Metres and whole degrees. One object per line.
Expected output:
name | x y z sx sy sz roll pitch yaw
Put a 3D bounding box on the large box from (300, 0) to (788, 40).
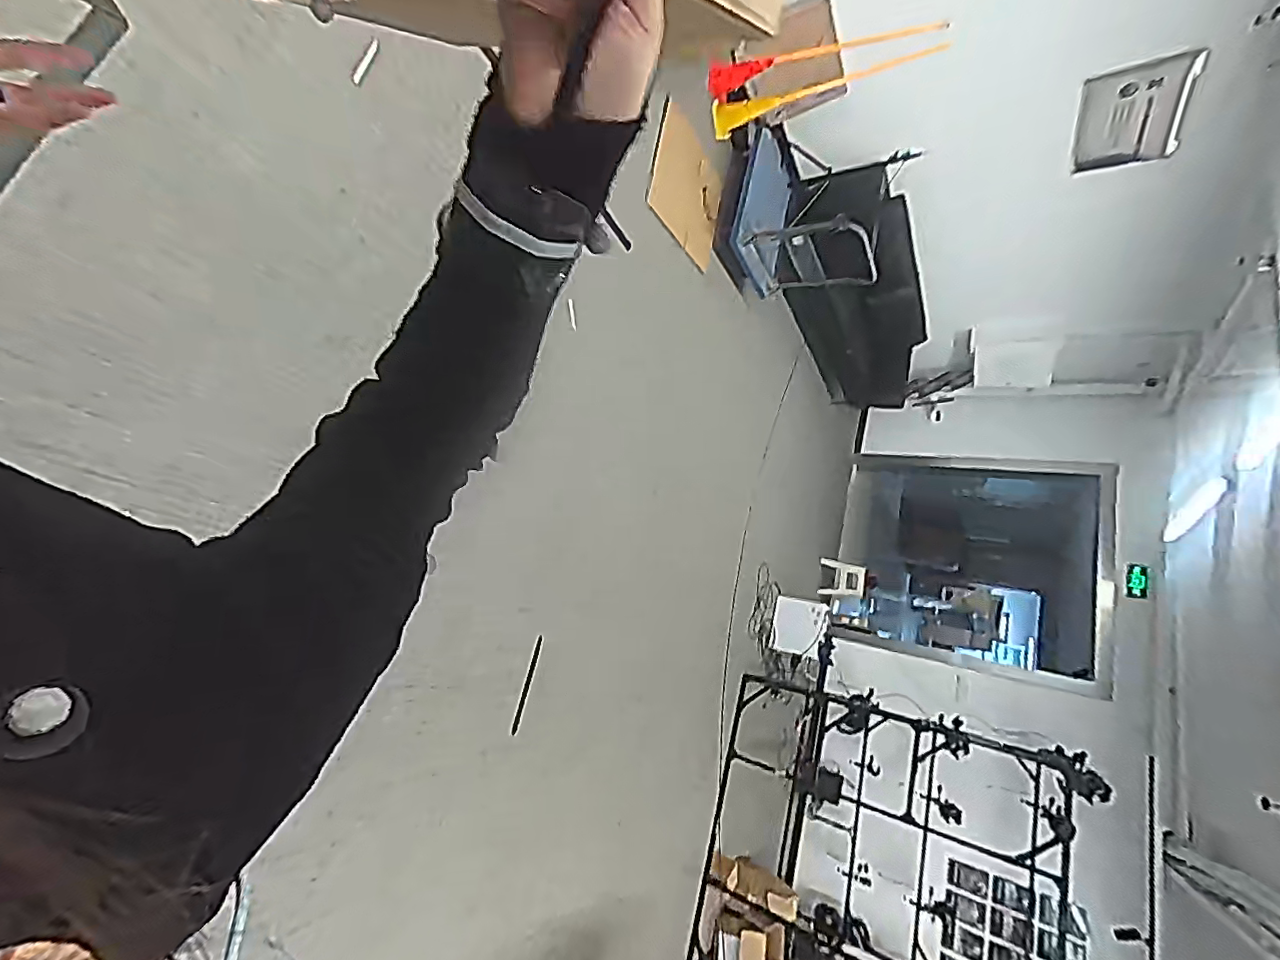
large box | -0.108 -0.444 0.199 0.320 0.320 0.408 -33 138 -46
